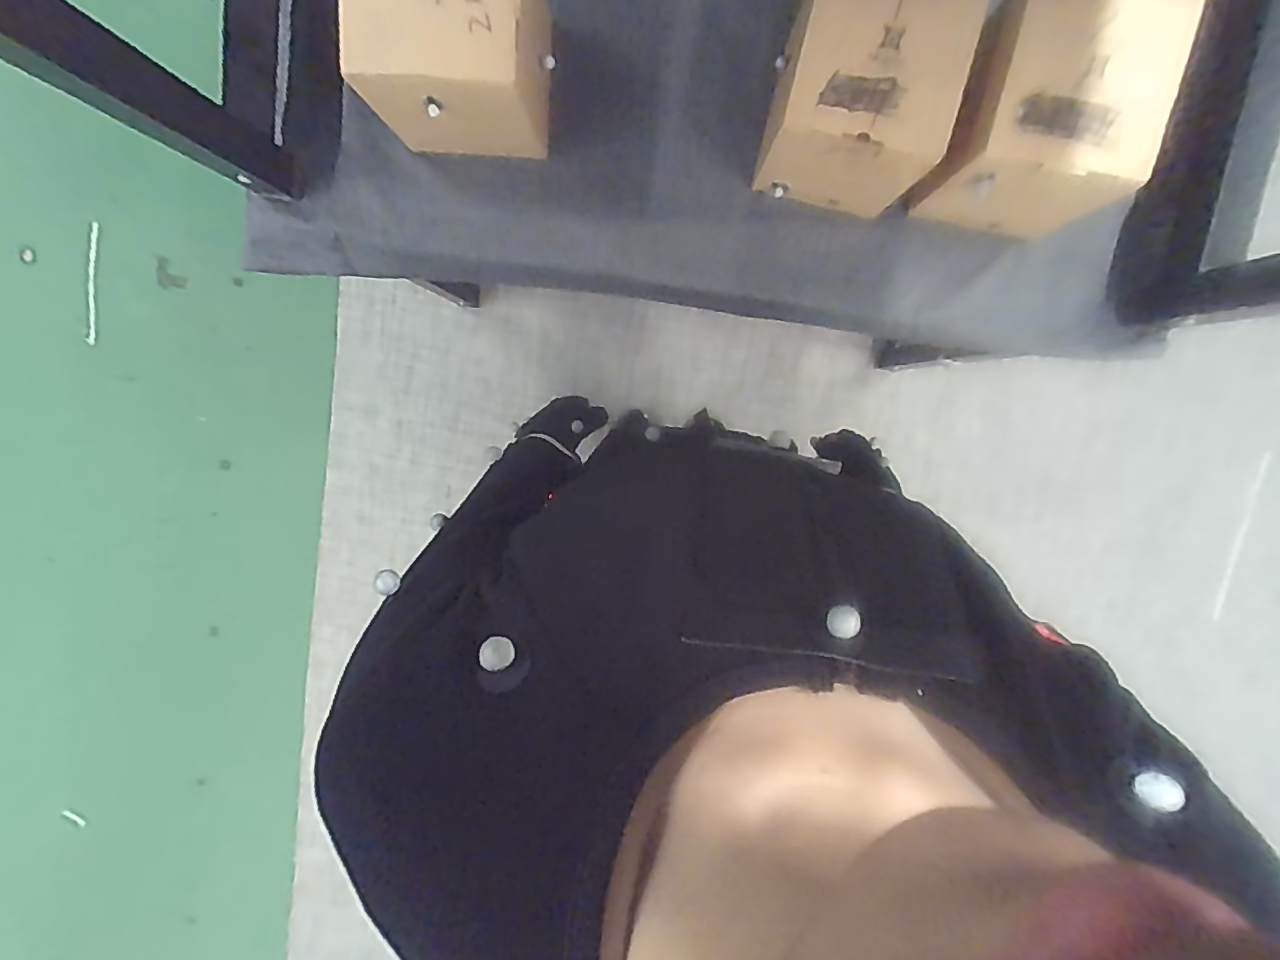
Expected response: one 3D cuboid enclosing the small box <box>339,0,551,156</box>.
[{"bbox_3d":[-0.204,-0.486,0.602,0.179,0.176,0.168,4,99,0],"label":"small box"}]
